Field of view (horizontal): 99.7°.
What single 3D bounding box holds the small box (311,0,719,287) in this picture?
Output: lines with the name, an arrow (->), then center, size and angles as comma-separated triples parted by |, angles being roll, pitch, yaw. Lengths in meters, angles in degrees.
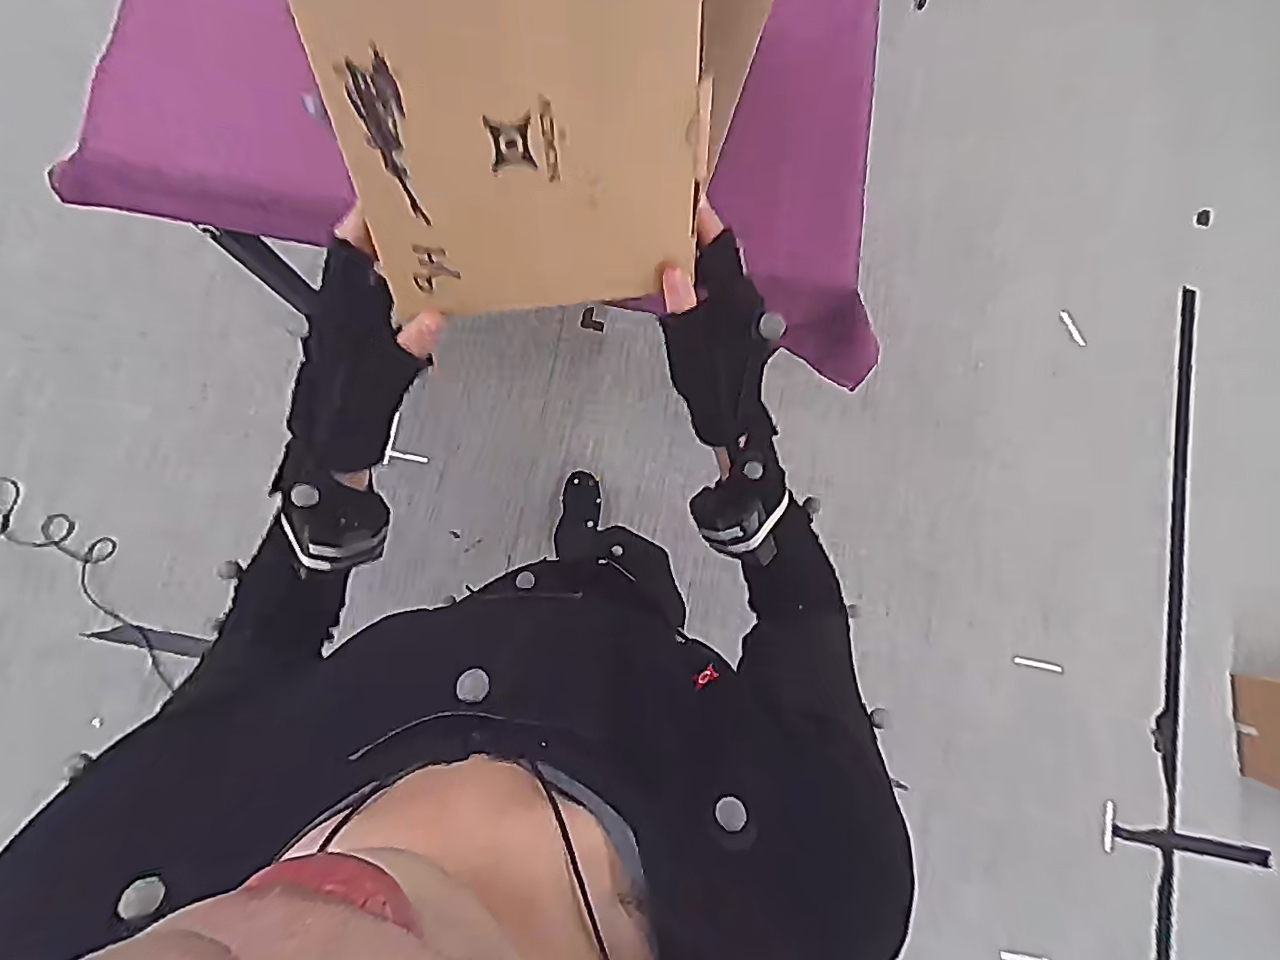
small box -> -0.066, -0.229, 0.312 | 0.179, 0.168, 0.176 | -9, 41, -9
